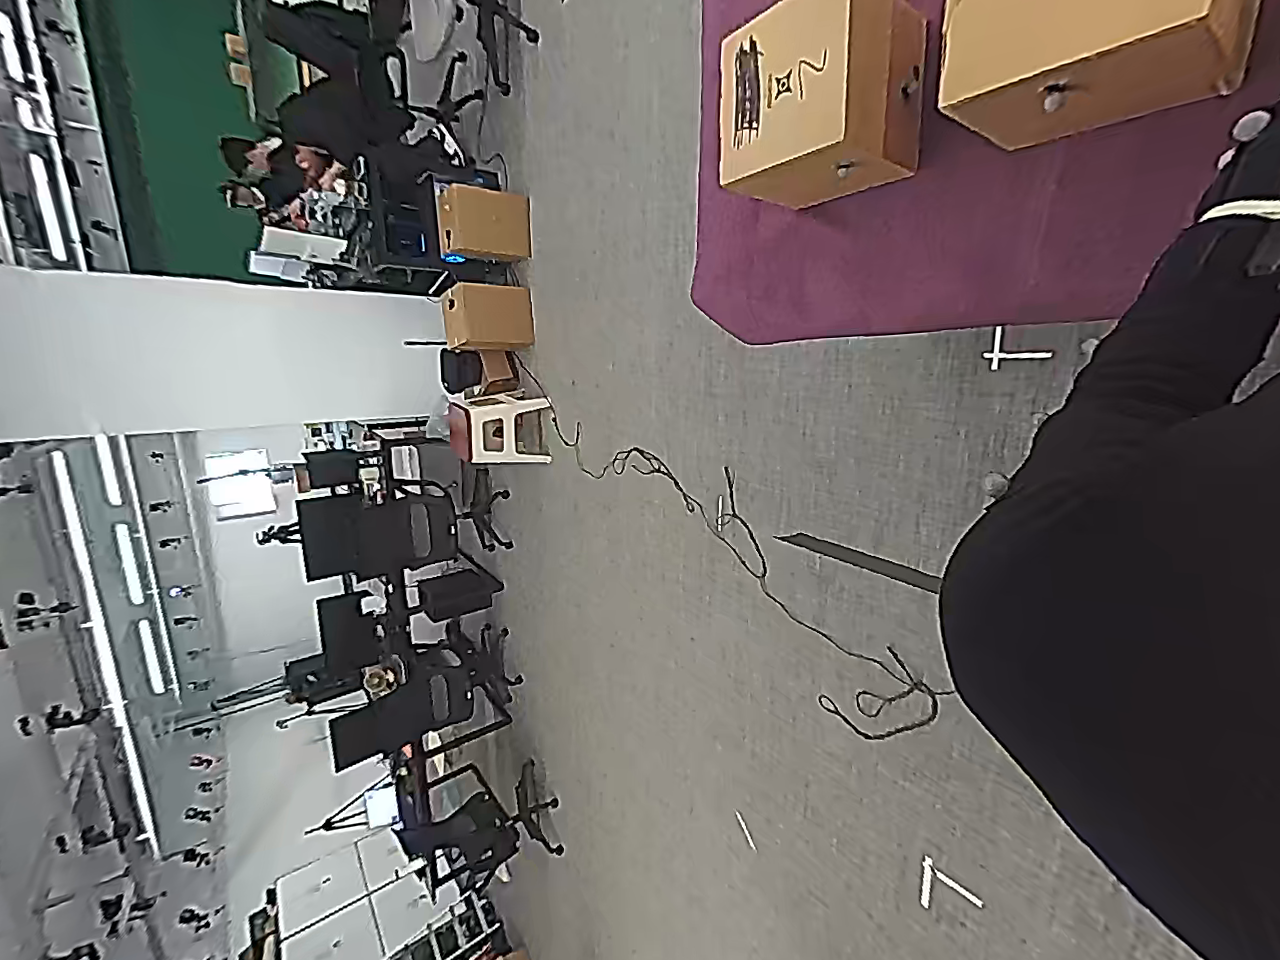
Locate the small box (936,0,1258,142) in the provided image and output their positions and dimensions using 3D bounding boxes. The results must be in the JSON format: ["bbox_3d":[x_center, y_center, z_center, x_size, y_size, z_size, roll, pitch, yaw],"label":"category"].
[{"bbox_3d":[0.381,-0.408,0.445,0.179,0.176,0.168,17,112,52],"label":"small box"}]
